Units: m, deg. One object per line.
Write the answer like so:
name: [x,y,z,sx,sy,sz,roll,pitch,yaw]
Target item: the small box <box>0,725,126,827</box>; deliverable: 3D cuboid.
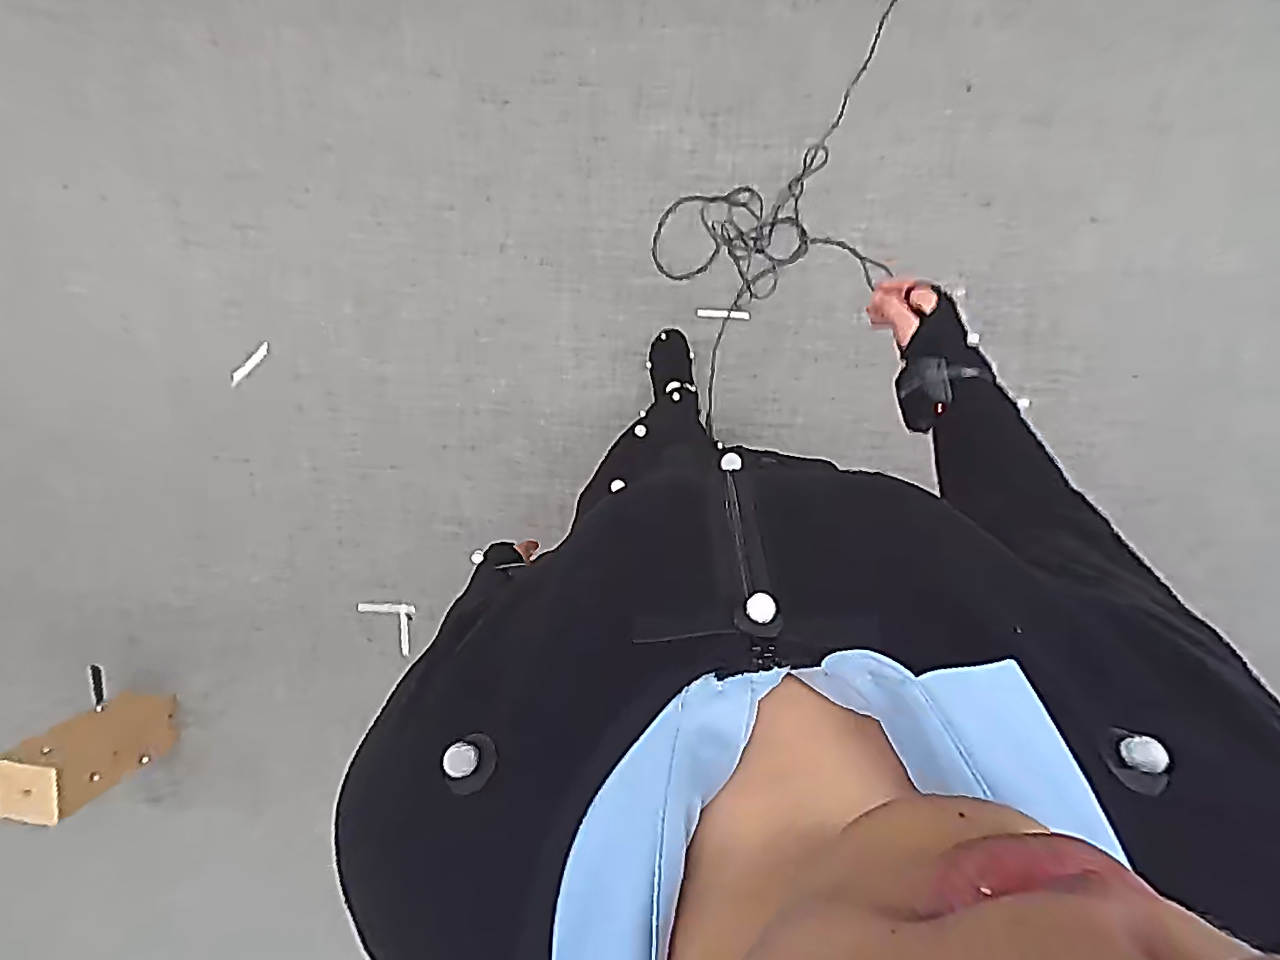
small box: [-1.544,0.788,1.458,0.179,0.176,0.168,8,98,3]
